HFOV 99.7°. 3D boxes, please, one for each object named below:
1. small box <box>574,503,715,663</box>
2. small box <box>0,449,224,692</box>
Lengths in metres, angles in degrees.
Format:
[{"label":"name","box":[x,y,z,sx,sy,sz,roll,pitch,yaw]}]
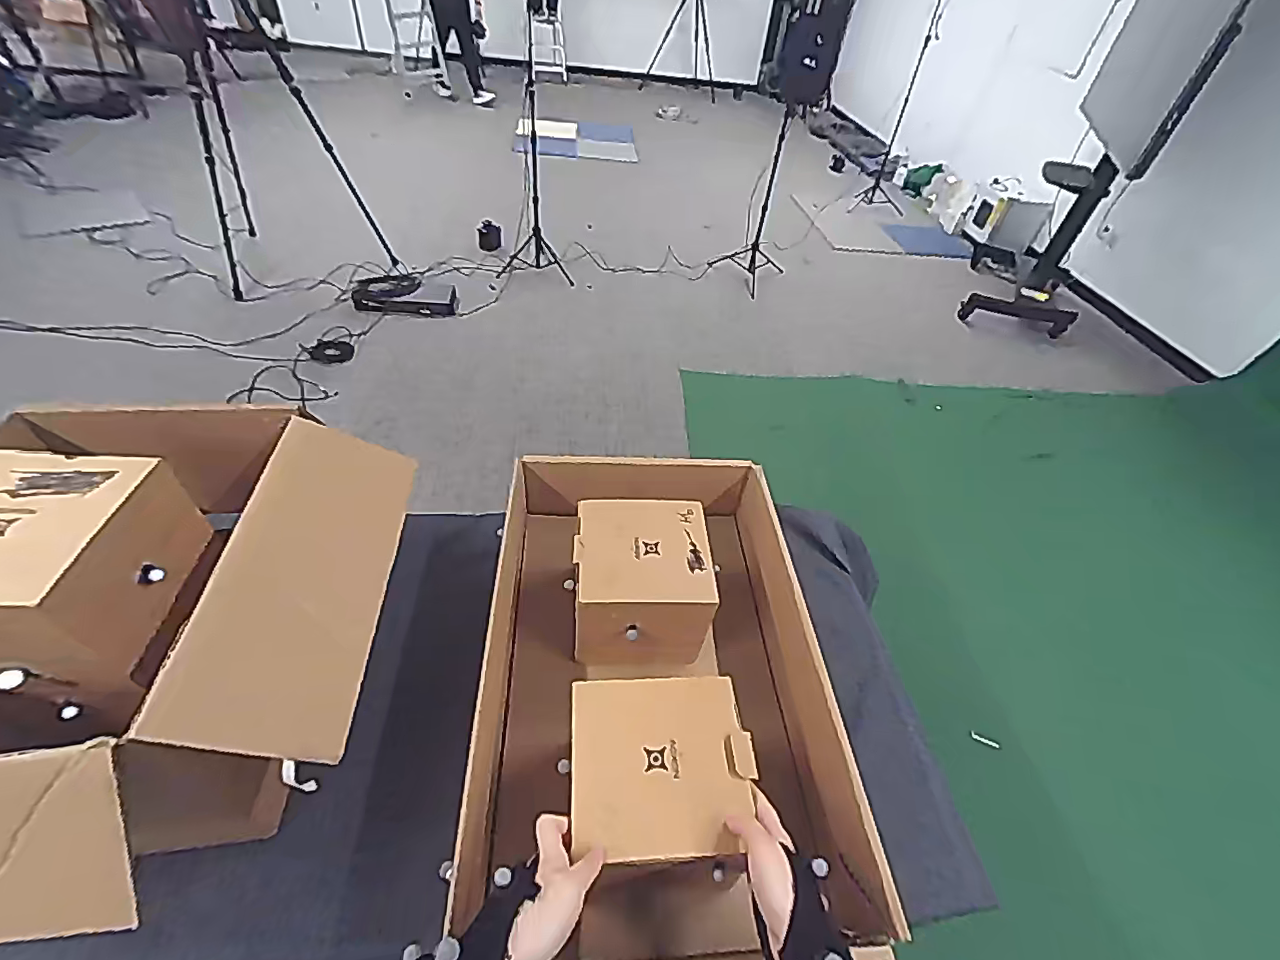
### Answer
[{"label":"small box","box":[-0.003,0.149,0.768,0.179,0.176,0.168,1,48,-6]},{"label":"small box","box":[-0.568,0.093,0.545,0.168,0.176,0.179,3,47,-6]}]
